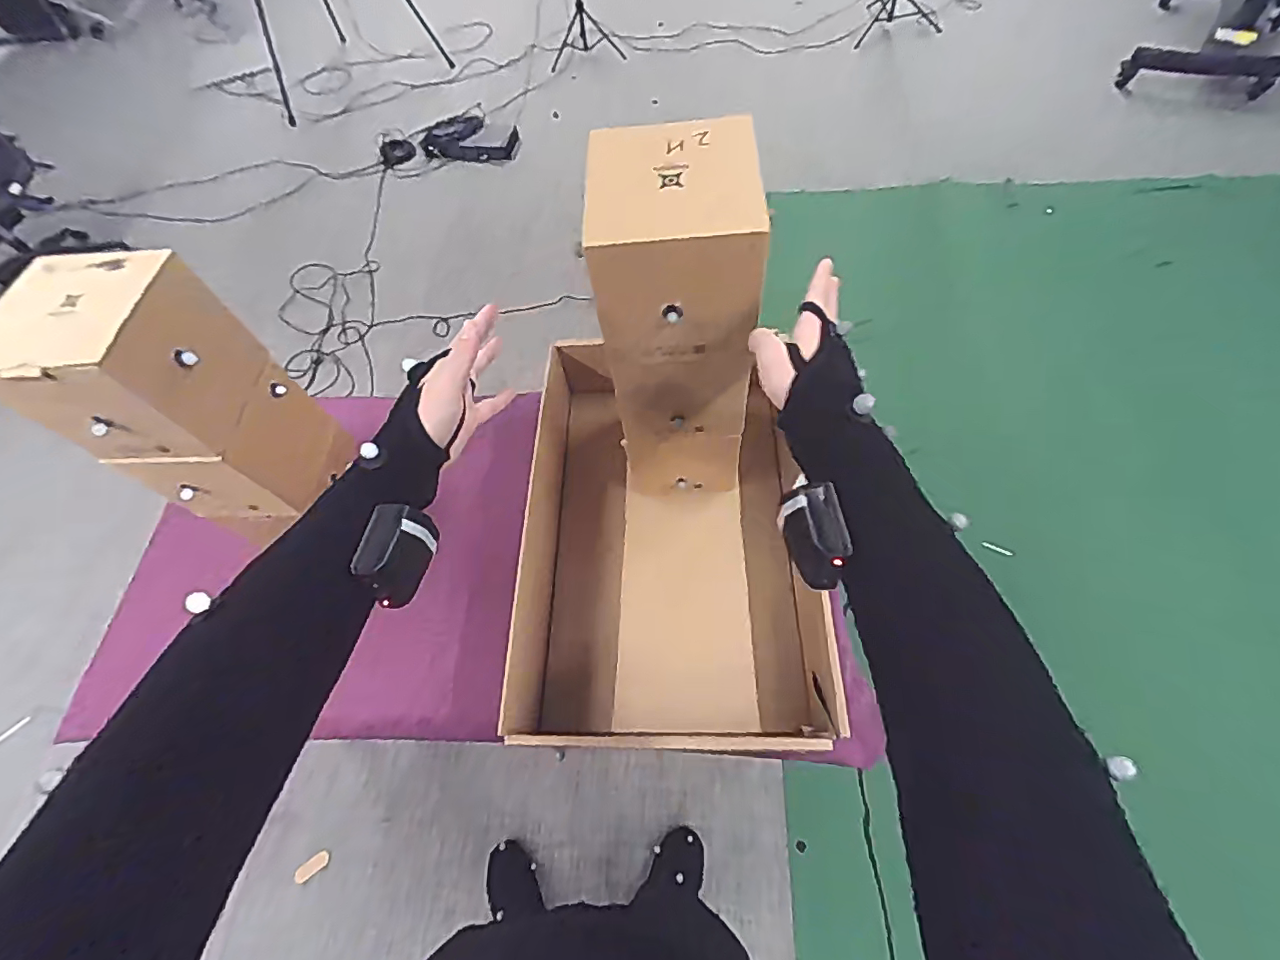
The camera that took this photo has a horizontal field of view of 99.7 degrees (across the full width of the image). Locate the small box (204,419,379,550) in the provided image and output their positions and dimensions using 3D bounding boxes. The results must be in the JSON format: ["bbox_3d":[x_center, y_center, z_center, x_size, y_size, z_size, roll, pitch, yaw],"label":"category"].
[{"bbox_3d":[-0.579,0.013,0.930,0.168,0.176,0.179,0,61,4],"label":"small box"}]

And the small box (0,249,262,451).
[{"bbox_3d":[-0.602,-0.144,0.646,0.168,0.176,0.179,-1,62,3],"label":"small box"}]

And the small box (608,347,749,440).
[{"bbox_3d":[0.051,-0.172,0.728,0.168,0.176,0.179,-3,63,5],"label":"small box"}]

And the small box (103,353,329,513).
[{"bbox_3d":[-0.592,-0.061,0.787,0.168,0.176,0.179,-1,61,4],"label":"small box"}]

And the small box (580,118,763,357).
[{"bbox_3d":[0.037,-0.246,0.580,0.168,0.176,0.179,-2,62,5],"label":"small box"}]
